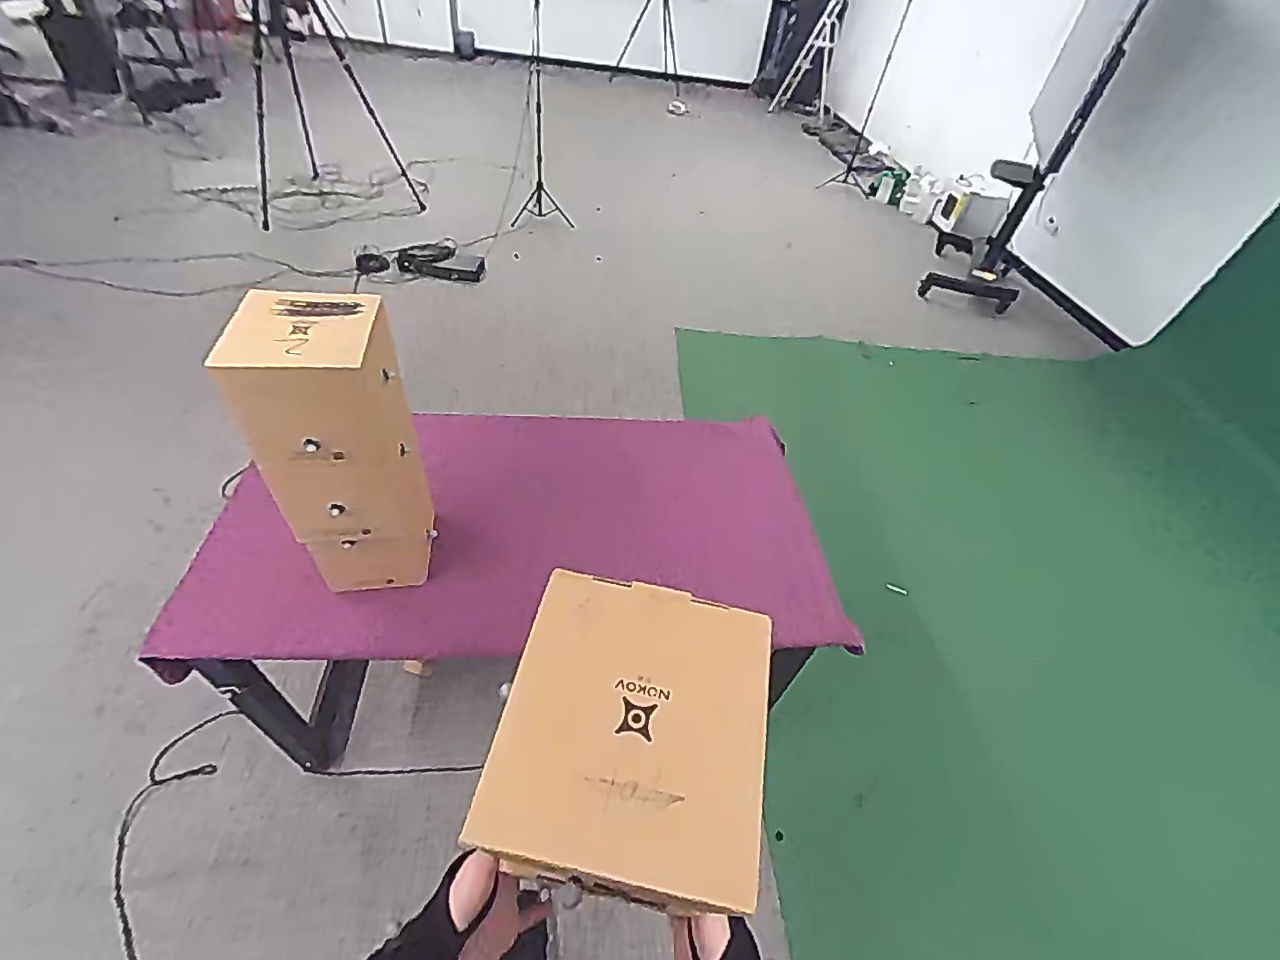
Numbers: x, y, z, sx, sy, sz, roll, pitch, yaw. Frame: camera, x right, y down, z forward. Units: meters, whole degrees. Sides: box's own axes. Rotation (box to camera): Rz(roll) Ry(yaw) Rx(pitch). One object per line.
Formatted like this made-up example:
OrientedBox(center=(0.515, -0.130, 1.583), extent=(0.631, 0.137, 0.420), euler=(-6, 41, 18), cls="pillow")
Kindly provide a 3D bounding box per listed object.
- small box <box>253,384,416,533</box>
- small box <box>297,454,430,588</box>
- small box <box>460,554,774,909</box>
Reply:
OrientedBox(center=(-0.455, -0.029, 0.841), extent=(0.168, 0.176, 0.179), euler=(-1, 47, -12), cls="small box")
OrientedBox(center=(-0.480, 0.072, 0.970), extent=(0.168, 0.176, 0.179), euler=(-2, 47, -12), cls="small box")
OrientedBox(center=(-0.010, 0.186, 0.399), extent=(0.168, 0.176, 0.179), euler=(13, 52, 4), cls="small box")
